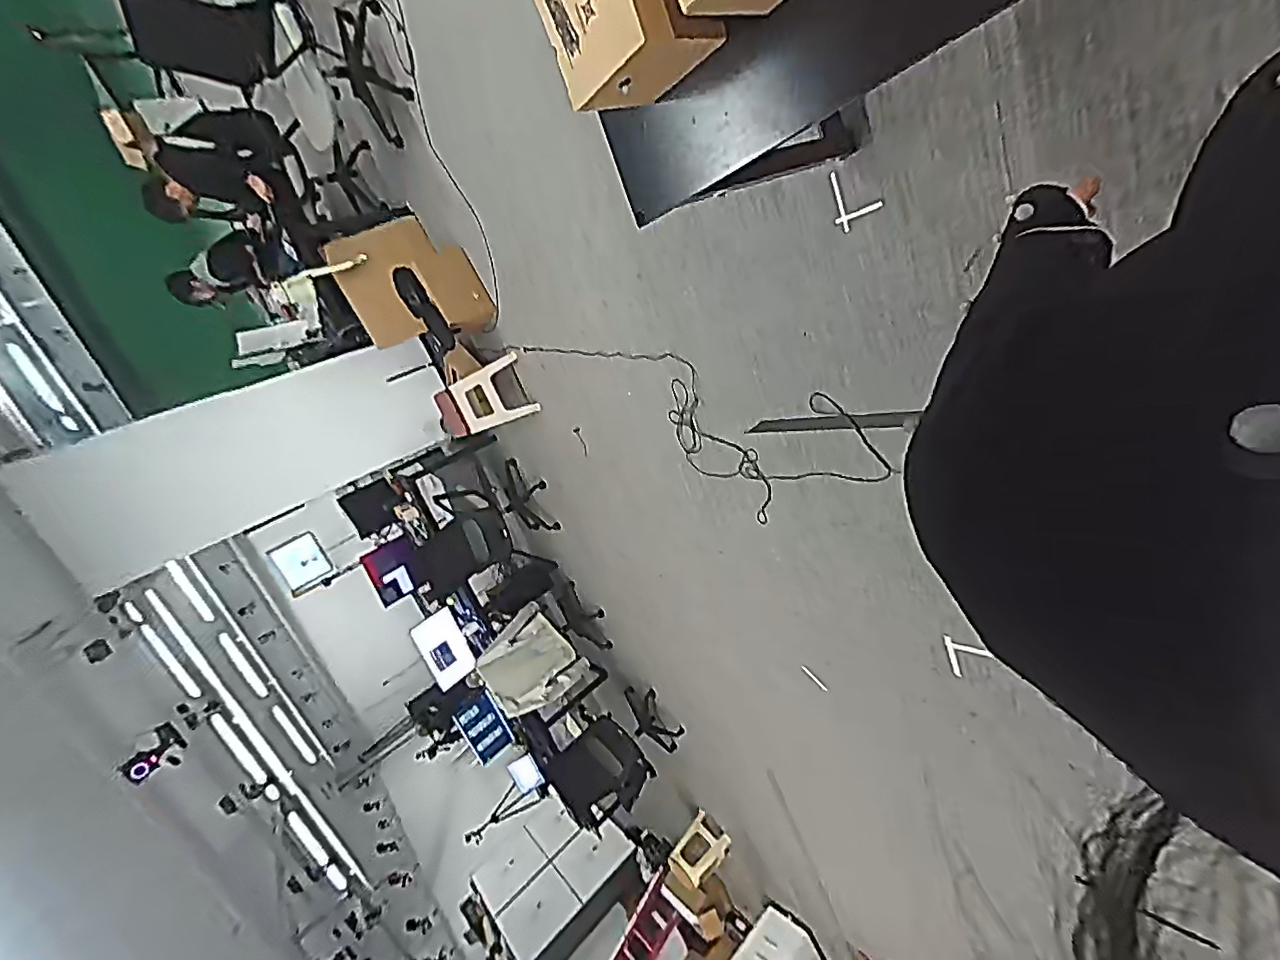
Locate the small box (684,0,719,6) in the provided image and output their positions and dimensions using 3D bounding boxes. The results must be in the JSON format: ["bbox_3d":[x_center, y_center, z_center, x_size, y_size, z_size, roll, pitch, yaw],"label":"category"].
[{"bbox_3d":[0.127,-0.656,0.573,0.168,0.176,0.179,2,120,52],"label":"small box"}]

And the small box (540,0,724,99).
[{"bbox_3d":[-0.015,-0.671,0.756,0.179,0.176,0.168,3,120,53],"label":"small box"}]
